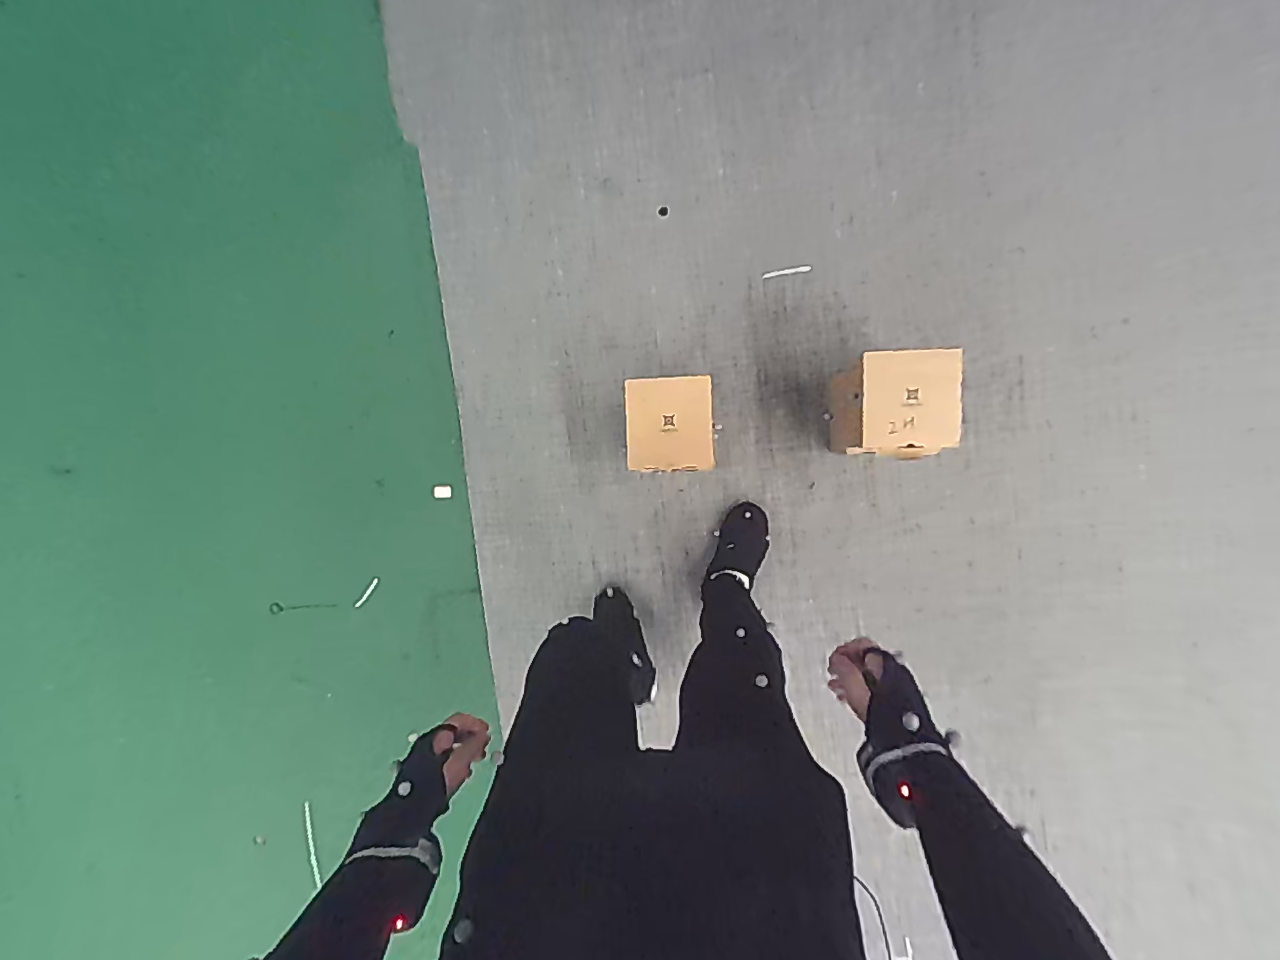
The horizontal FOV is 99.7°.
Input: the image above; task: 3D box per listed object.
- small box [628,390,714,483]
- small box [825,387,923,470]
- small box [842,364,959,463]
[{"bbox_3d":[0.067,-0.085,1.112,0.168,0.176,0.179,-2,93,8],"label":"small box"},{"bbox_3d":[0.517,-0.120,1.206,0.168,0.176,0.179,-4,93,8],"label":"small box"},{"bbox_3d":[0.492,-0.121,1.043,0.168,0.176,0.179,0,93,9],"label":"small box"}]
